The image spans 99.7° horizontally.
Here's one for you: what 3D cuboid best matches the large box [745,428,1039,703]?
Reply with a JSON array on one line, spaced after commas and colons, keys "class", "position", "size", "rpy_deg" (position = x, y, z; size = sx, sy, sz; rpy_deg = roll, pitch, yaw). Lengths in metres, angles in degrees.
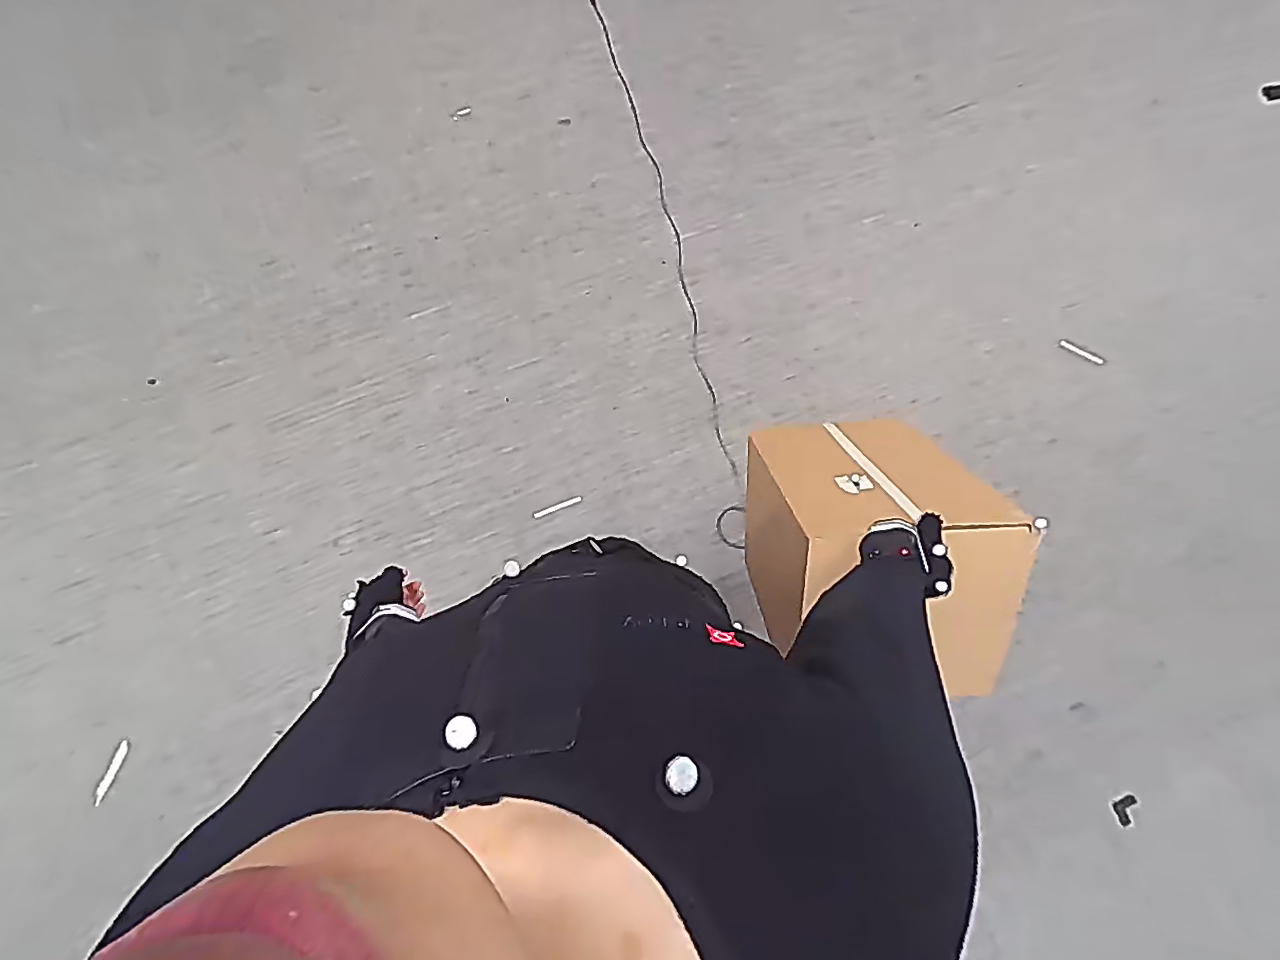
[{"class": "large box", "position": [0.387, 0.126, 0.971], "size": [0.320, 0.408, 0.320], "rpy_deg": [-4, 117, 0]}]
